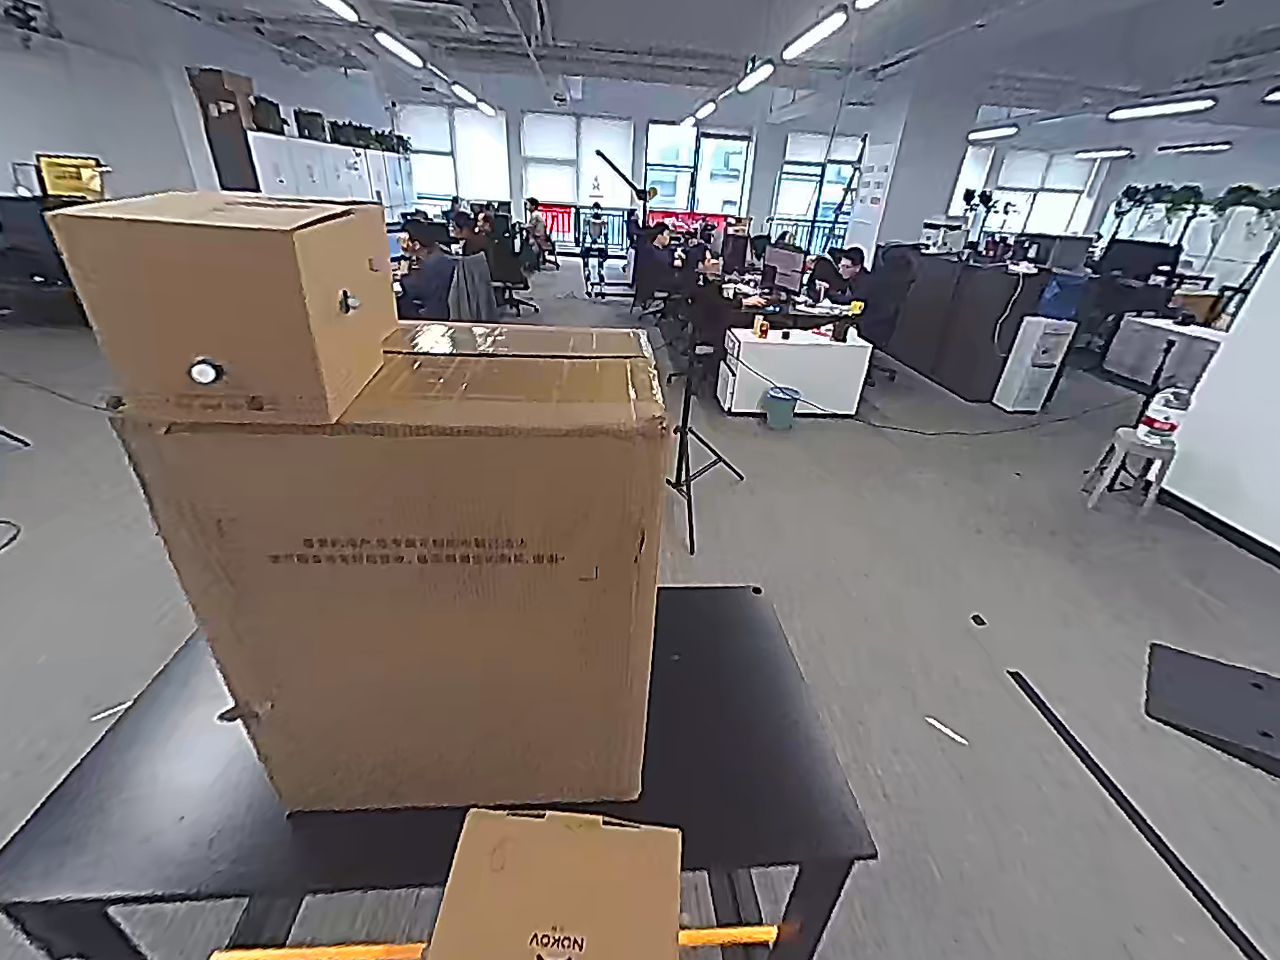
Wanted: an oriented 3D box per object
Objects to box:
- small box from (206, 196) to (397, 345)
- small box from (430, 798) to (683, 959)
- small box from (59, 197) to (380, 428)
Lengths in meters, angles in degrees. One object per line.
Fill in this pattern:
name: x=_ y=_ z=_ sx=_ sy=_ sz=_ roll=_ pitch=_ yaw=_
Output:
small box: x=-0.416 y=-0.254 z=0.676 sx=0.168 sy=0.176 sz=0.179 roll=-1 pitch=28 yaw=-10
small box: x=-0.058 y=0.371 z=0.409 sx=0.168 sy=0.176 sz=0.179 roll=4 pitch=43 yaw=2
small box: x=-0.363 y=-0.163 z=0.516 sx=0.168 sy=0.176 sz=0.179 roll=0 pitch=31 yaw=-9
